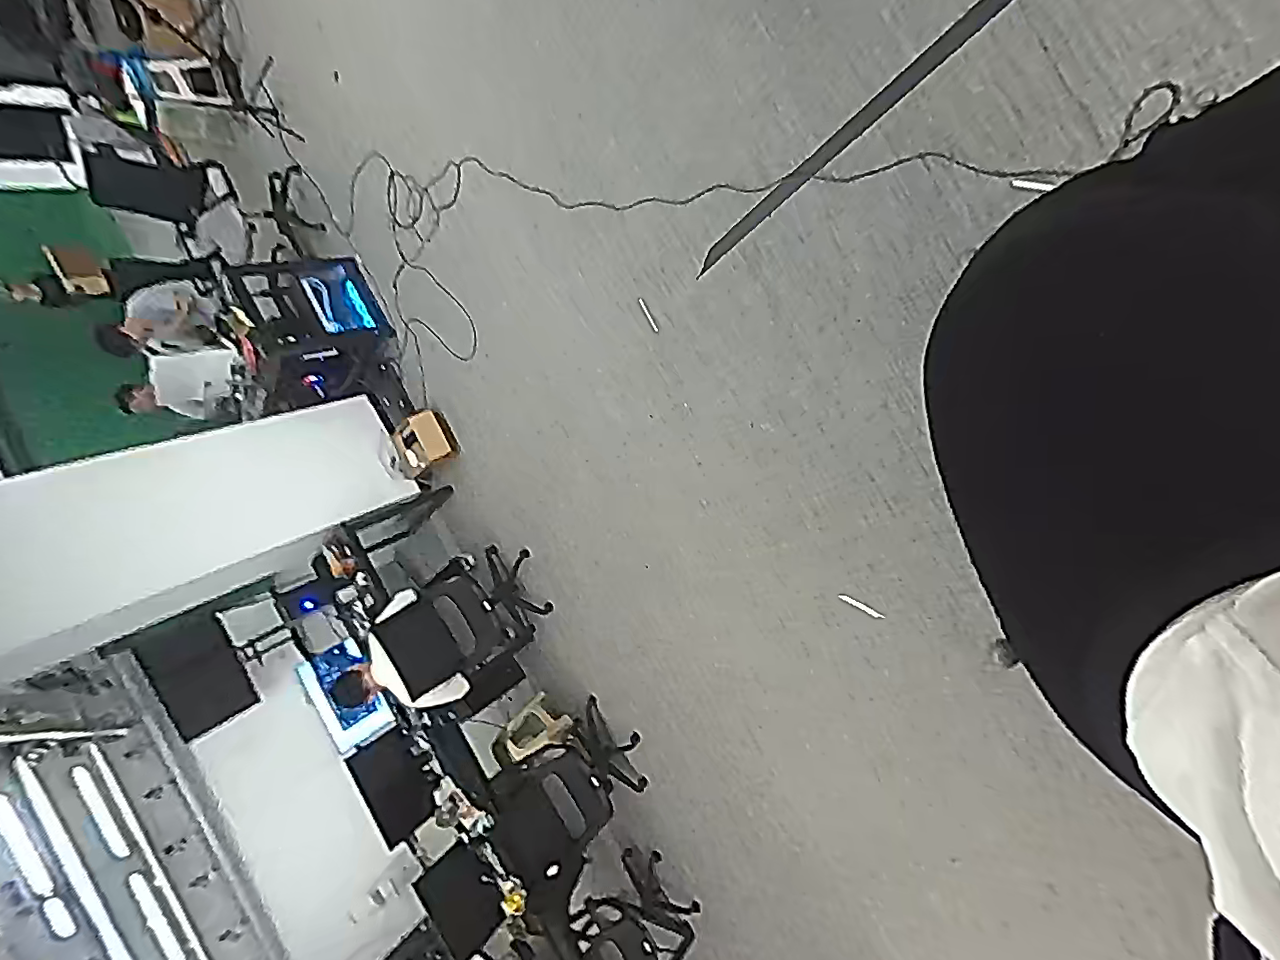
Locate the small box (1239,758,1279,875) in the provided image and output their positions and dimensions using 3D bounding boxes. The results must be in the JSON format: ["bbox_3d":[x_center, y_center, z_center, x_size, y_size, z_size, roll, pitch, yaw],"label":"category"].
[{"bbox_3d":[0.984,0.515,0.746,0.179,0.176,0.168,-20,96,48],"label":"small box"}]

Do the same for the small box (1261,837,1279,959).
[{"bbox_3d":[0.877,0.578,0.637,0.168,0.176,0.179,-12,103,46],"label":"small box"}]
